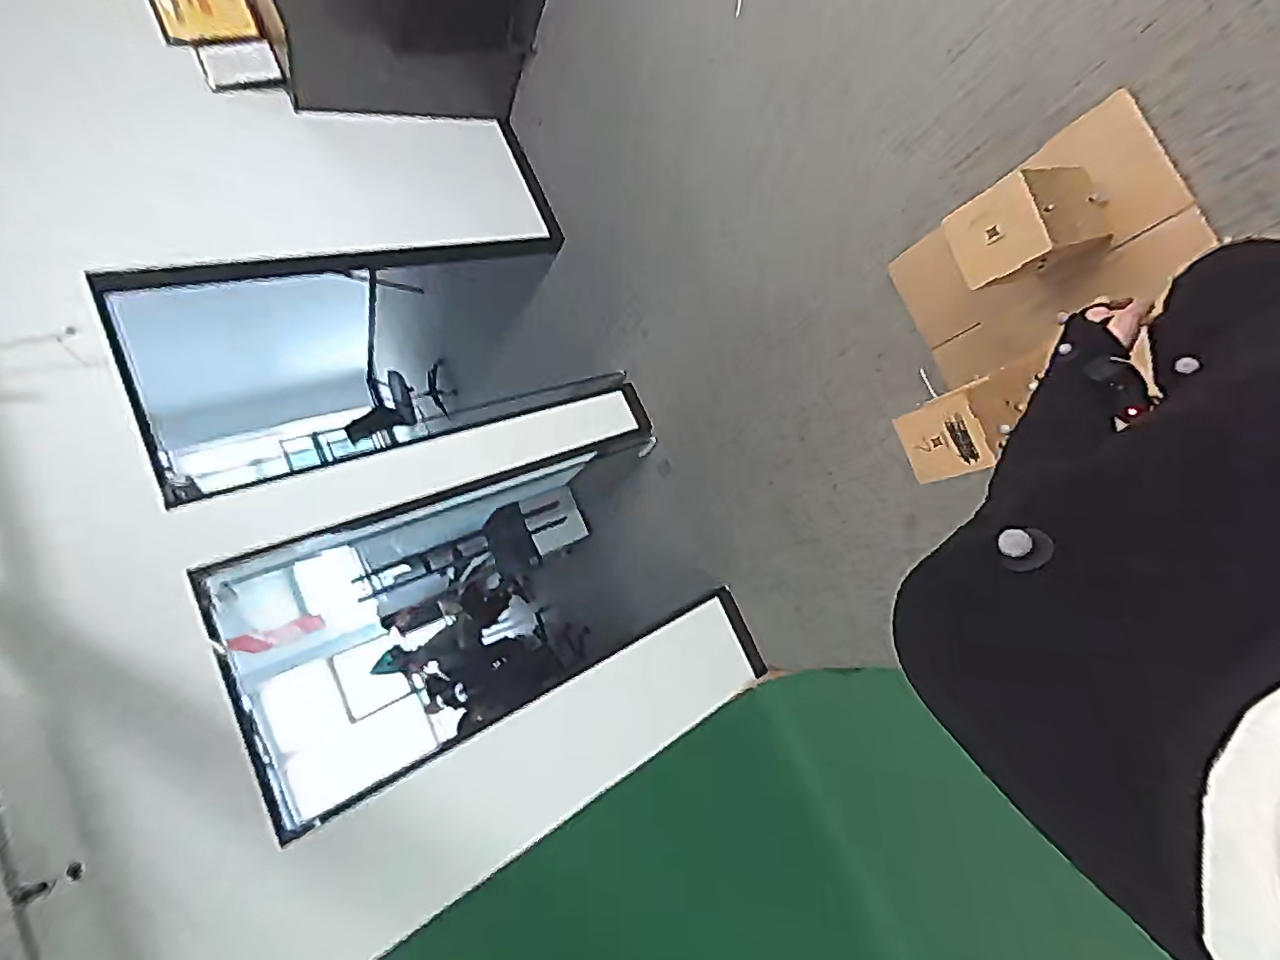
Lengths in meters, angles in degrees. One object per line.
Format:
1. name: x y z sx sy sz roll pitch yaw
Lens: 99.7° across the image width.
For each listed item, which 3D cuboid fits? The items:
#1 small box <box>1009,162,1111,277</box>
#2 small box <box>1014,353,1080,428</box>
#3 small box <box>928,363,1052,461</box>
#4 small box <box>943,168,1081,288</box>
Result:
1. small box: 0.932 -0.596 1.246 0.168 0.176 0.179 -29 83 59
2. small box: 0.981 -0.213 1.396 0.168 0.176 0.179 -32 81 59
3. small box: 0.850 -0.169 1.312 0.168 0.176 0.179 -32 82 58
4. small box: 0.801 -0.543 1.164 0.168 0.176 0.179 -24 88 58
